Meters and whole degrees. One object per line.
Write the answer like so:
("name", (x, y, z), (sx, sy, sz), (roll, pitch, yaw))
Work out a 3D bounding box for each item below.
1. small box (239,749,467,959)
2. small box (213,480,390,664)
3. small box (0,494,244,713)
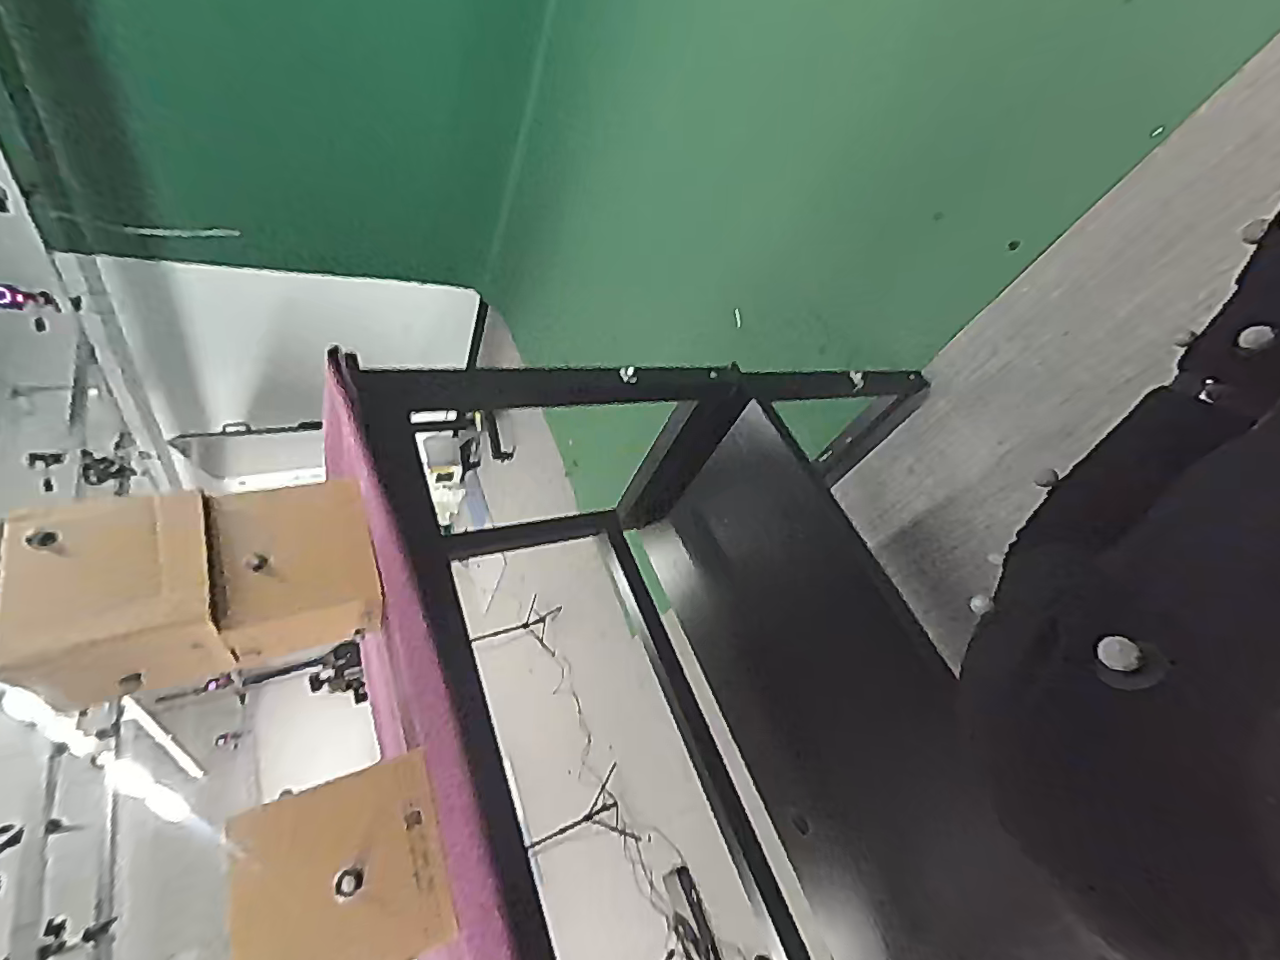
("small box", (-0.283, 0.394, 0.544), (0.179, 0.176, 0.168), (-54, 52, 48))
("small box", (-0.440, 0.119, 0.721), (0.168, 0.176, 0.179), (-51, 56, 51))
("small box", (-0.570, 0.136, 0.624), (0.179, 0.176, 0.168), (64, 145, 24))
